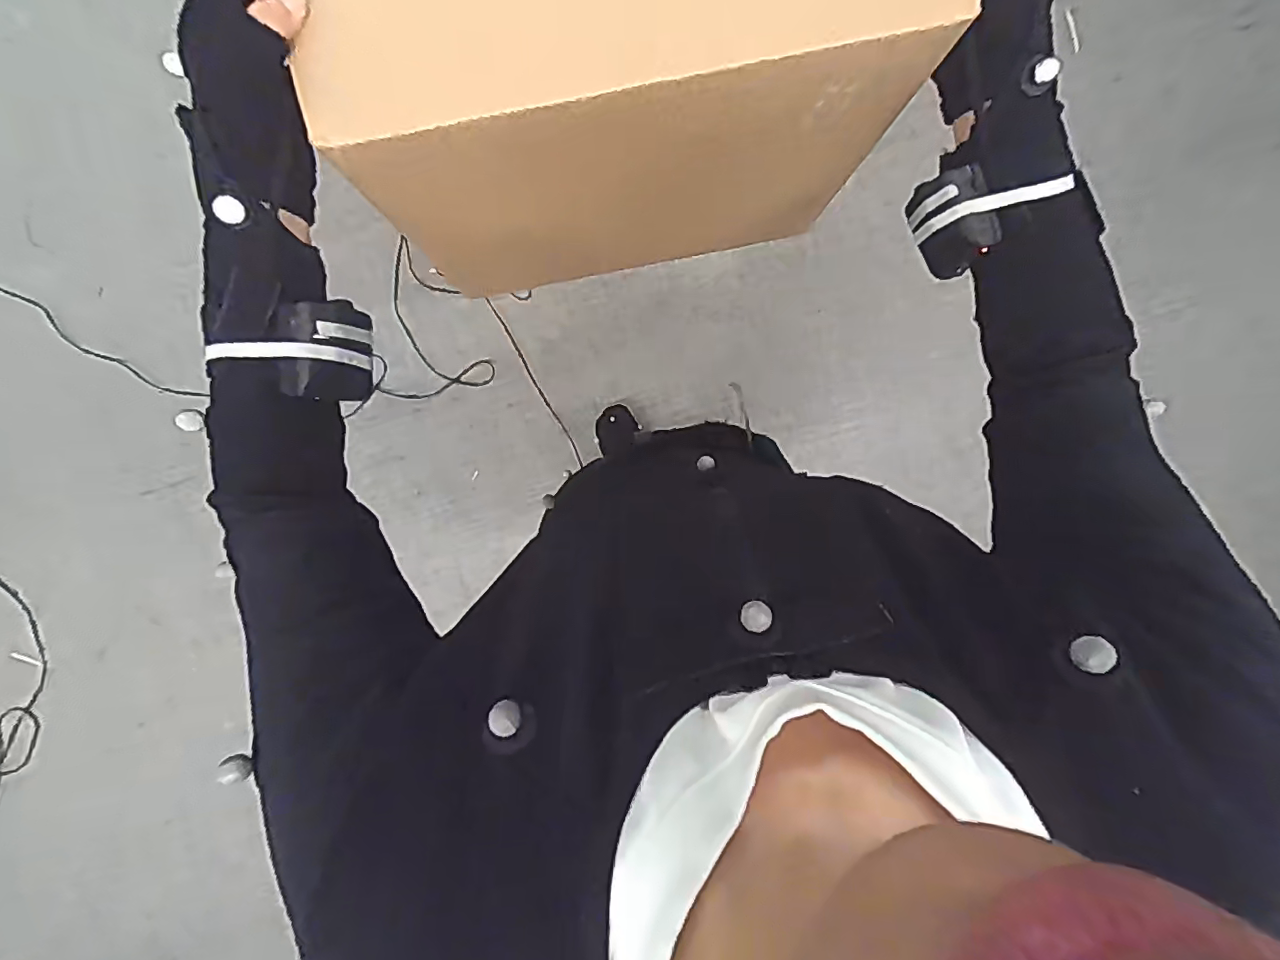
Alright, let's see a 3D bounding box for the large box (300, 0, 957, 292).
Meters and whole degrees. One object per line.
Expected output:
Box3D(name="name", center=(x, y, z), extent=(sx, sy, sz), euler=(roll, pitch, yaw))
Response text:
Box3D(name="large box", center=(-0.033, -0.399, 0.474), extent=(0.408, 0.320, 0.320), euler=(-12, 93, -2))
